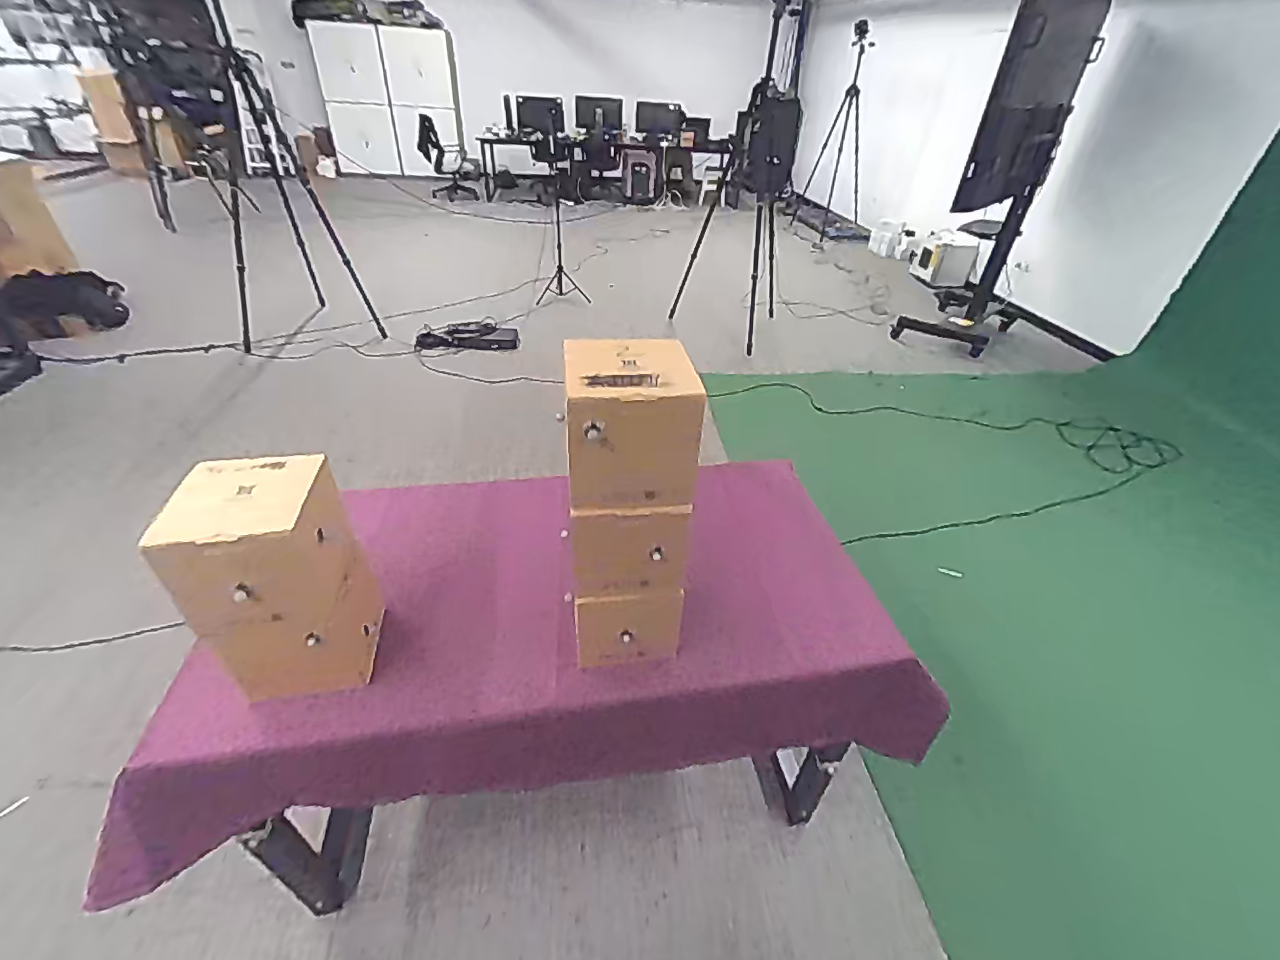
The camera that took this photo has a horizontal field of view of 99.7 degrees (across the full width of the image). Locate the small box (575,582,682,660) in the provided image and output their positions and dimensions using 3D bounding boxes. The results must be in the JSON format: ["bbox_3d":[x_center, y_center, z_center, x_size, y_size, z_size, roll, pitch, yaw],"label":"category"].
[{"bbox_3d":[-0.027,0.192,0.927,0.168,0.176,0.179,-3,37,-8],"label":"small box"}]

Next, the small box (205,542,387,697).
[{"bbox_3d":[-0.525,0.221,0.857,0.179,0.176,0.168,-4,37,-11],"label":"small box"}]

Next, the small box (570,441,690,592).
[{"bbox_3d":[-0.021,0.059,0.833,0.168,0.176,0.179,-2,36,-6],"label":"small box"}]

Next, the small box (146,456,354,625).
[{"bbox_3d":[-0.523,0.088,0.762,0.168,0.176,0.179,-4,37,-12],"label":"small box"}]
